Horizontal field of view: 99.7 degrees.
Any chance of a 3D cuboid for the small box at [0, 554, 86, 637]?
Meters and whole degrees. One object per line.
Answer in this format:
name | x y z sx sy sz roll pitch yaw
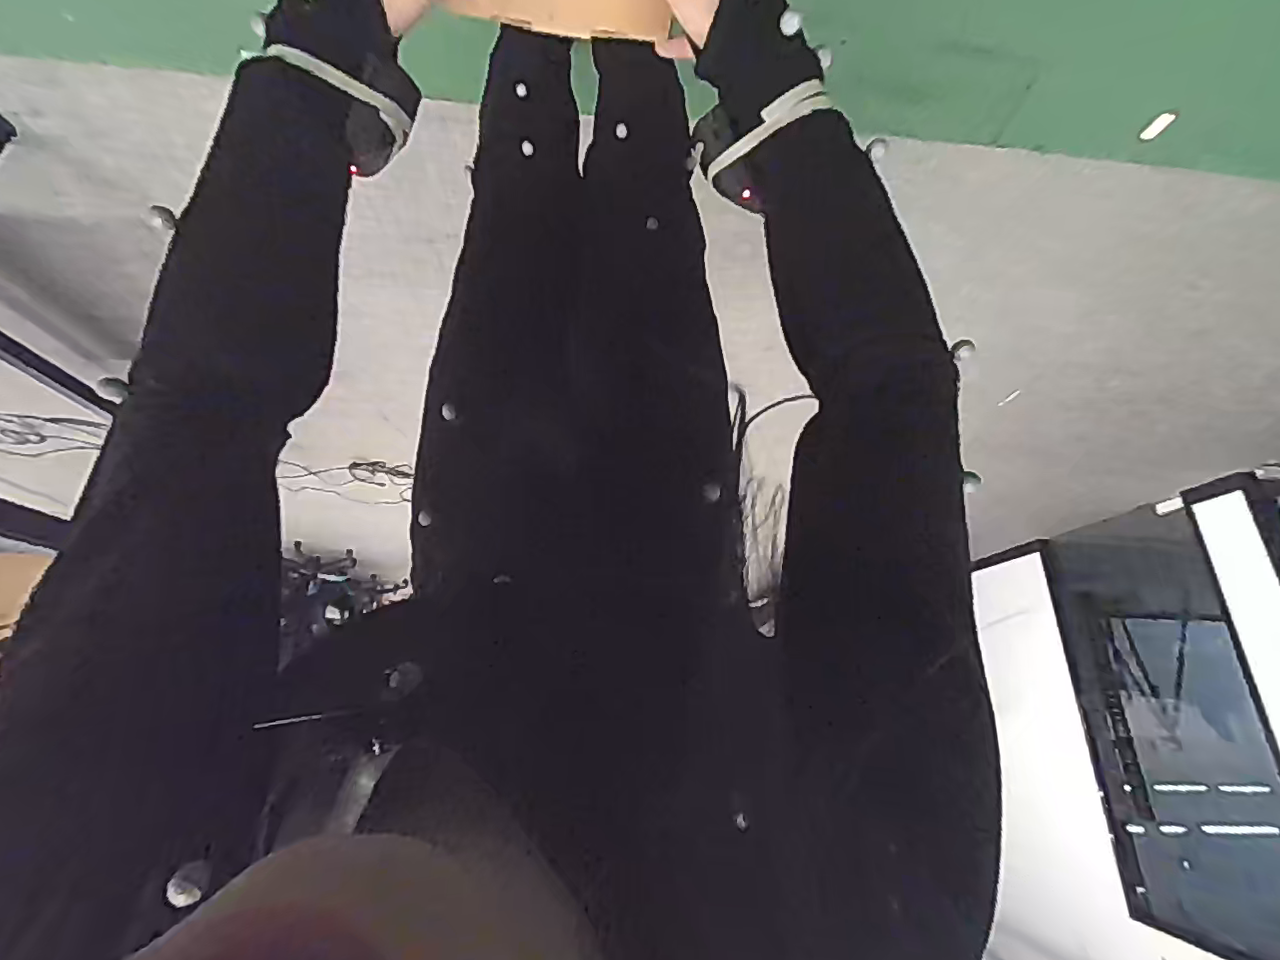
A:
small box | -1.494 0.273 1.280 0.179 0.176 0.168 3 160 -4
